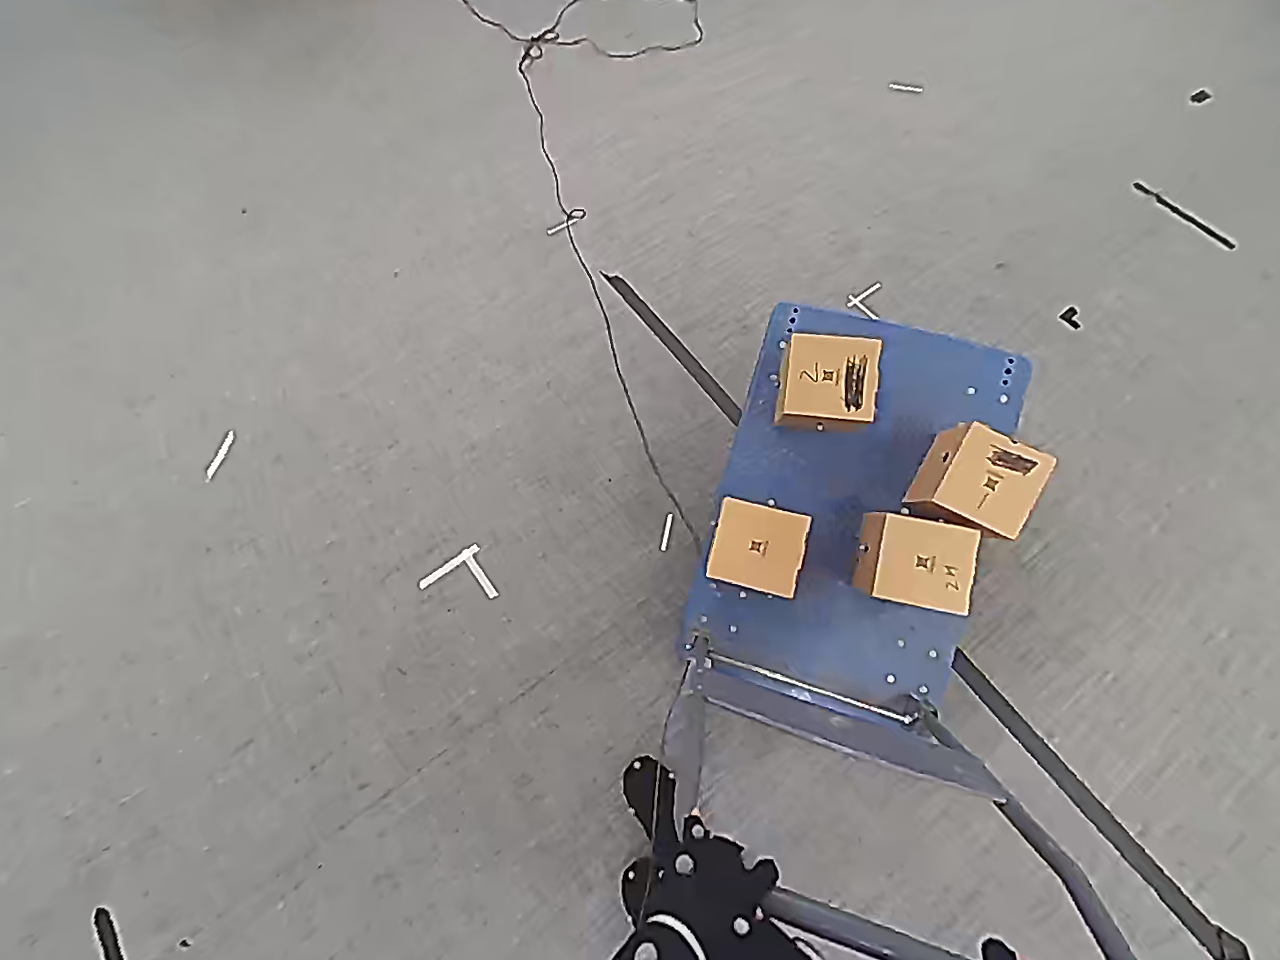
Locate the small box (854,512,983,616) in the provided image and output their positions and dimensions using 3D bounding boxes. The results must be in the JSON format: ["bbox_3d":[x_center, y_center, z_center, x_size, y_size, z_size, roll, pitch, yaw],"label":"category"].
[{"bbox_3d":[0.553,0.163,1.099,0.179,0.176,0.168,11,88,8],"label":"small box"}]

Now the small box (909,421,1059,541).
[{"bbox_3d":[0.678,0.004,1.092,0.168,0.176,0.179,28,91,9],"label":"small box"}]

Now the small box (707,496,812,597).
[{"bbox_3d":[0.244,0.136,1.143,0.179,0.176,0.168,14,88,7],"label":"small box"}]
